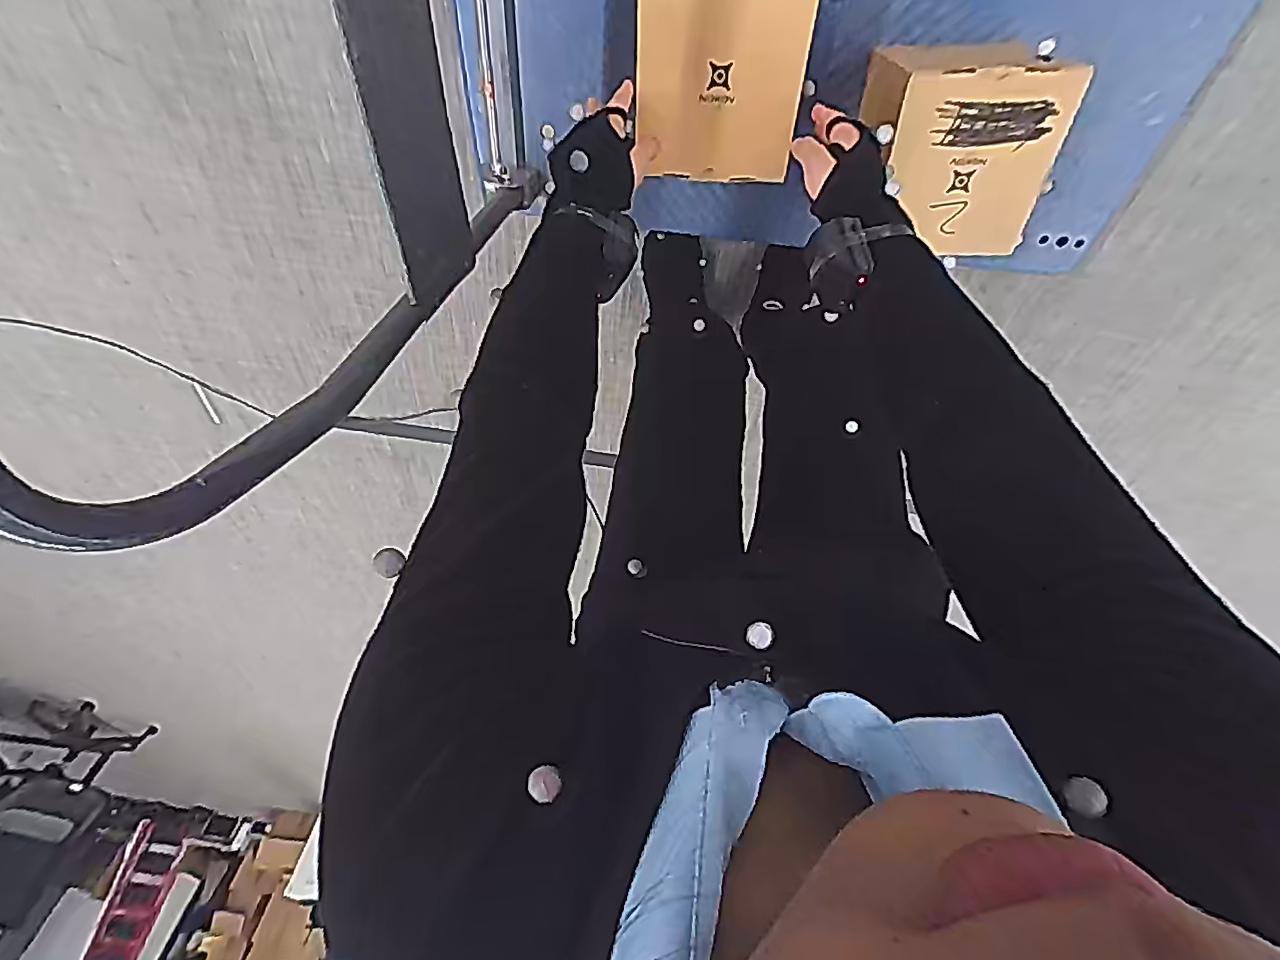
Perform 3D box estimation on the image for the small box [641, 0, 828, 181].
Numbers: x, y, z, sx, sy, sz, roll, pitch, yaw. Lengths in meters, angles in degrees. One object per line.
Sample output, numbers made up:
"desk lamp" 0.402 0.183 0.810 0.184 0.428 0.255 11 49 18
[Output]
"small box" 0.090 -0.446 0.581 0.168 0.176 0.179 4 136 2
